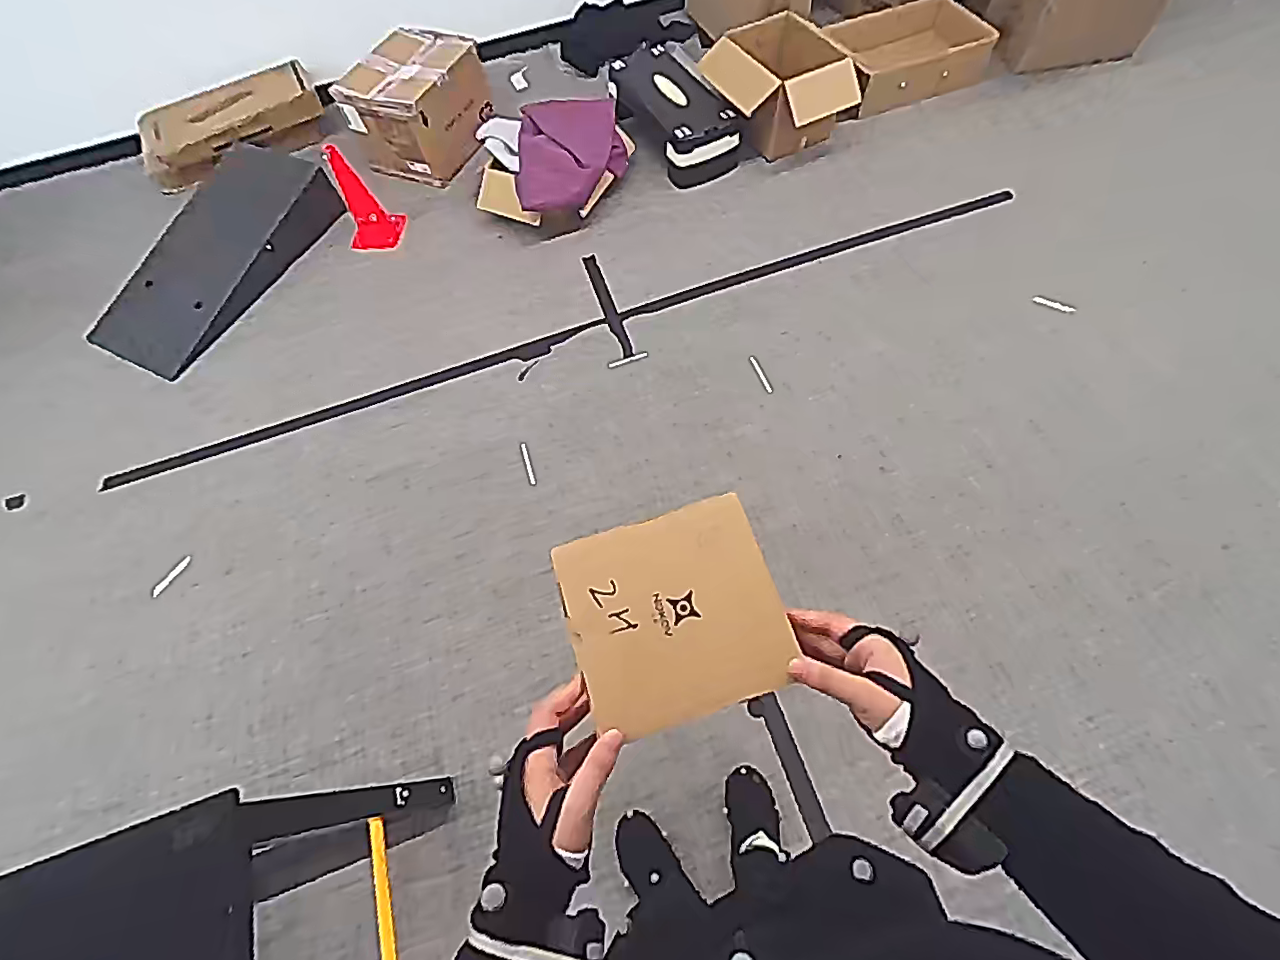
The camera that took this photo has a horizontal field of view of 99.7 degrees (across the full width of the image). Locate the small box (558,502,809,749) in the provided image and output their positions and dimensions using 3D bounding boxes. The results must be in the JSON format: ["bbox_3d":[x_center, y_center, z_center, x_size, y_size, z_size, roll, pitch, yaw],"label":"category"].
[{"bbox_3d":[0.035,0.142,0.529,0.179,0.176,0.168,-17,69,-3],"label":"small box"}]
